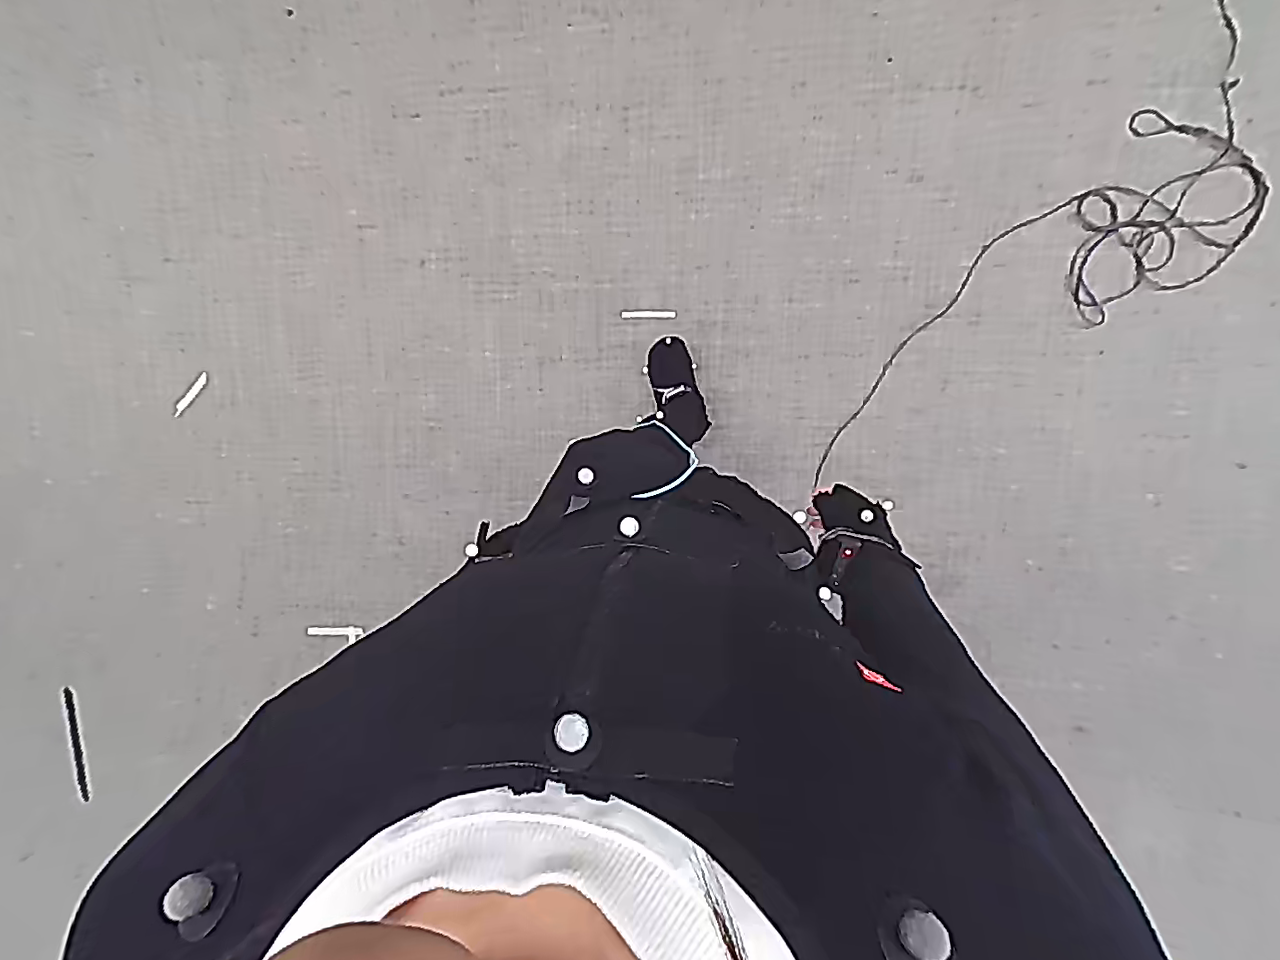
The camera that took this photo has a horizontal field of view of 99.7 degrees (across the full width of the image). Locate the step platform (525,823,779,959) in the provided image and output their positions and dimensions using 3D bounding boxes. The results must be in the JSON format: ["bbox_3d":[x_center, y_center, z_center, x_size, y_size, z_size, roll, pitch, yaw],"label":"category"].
[{"bbox_3d":[0.031,1.156,1.481,0.684,0.204,0.286,0,97,8],"label":"step platform"}]
